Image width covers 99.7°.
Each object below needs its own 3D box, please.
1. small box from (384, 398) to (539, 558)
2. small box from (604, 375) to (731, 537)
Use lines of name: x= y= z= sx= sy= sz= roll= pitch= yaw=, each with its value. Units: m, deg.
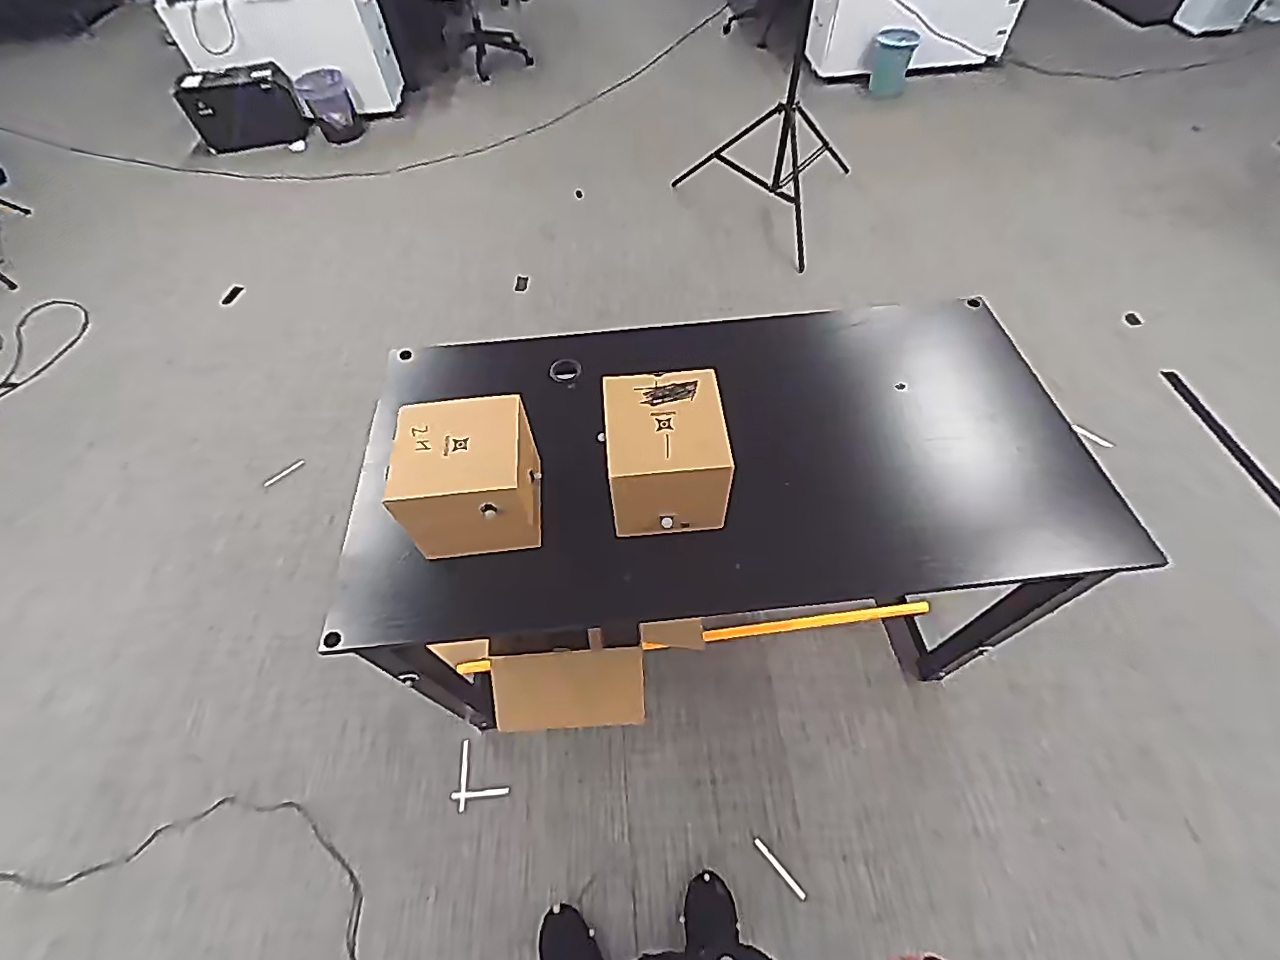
small box: x=-0.248 y=0.001 z=0.804 sx=0.179 sy=0.176 sz=0.168 roll=-6 pitch=55 yaw=-2
small box: x=0.035 y=-0.033 z=0.817 sx=0.168 sy=0.176 sz=0.179 roll=-5 pitch=56 yaw=-1
